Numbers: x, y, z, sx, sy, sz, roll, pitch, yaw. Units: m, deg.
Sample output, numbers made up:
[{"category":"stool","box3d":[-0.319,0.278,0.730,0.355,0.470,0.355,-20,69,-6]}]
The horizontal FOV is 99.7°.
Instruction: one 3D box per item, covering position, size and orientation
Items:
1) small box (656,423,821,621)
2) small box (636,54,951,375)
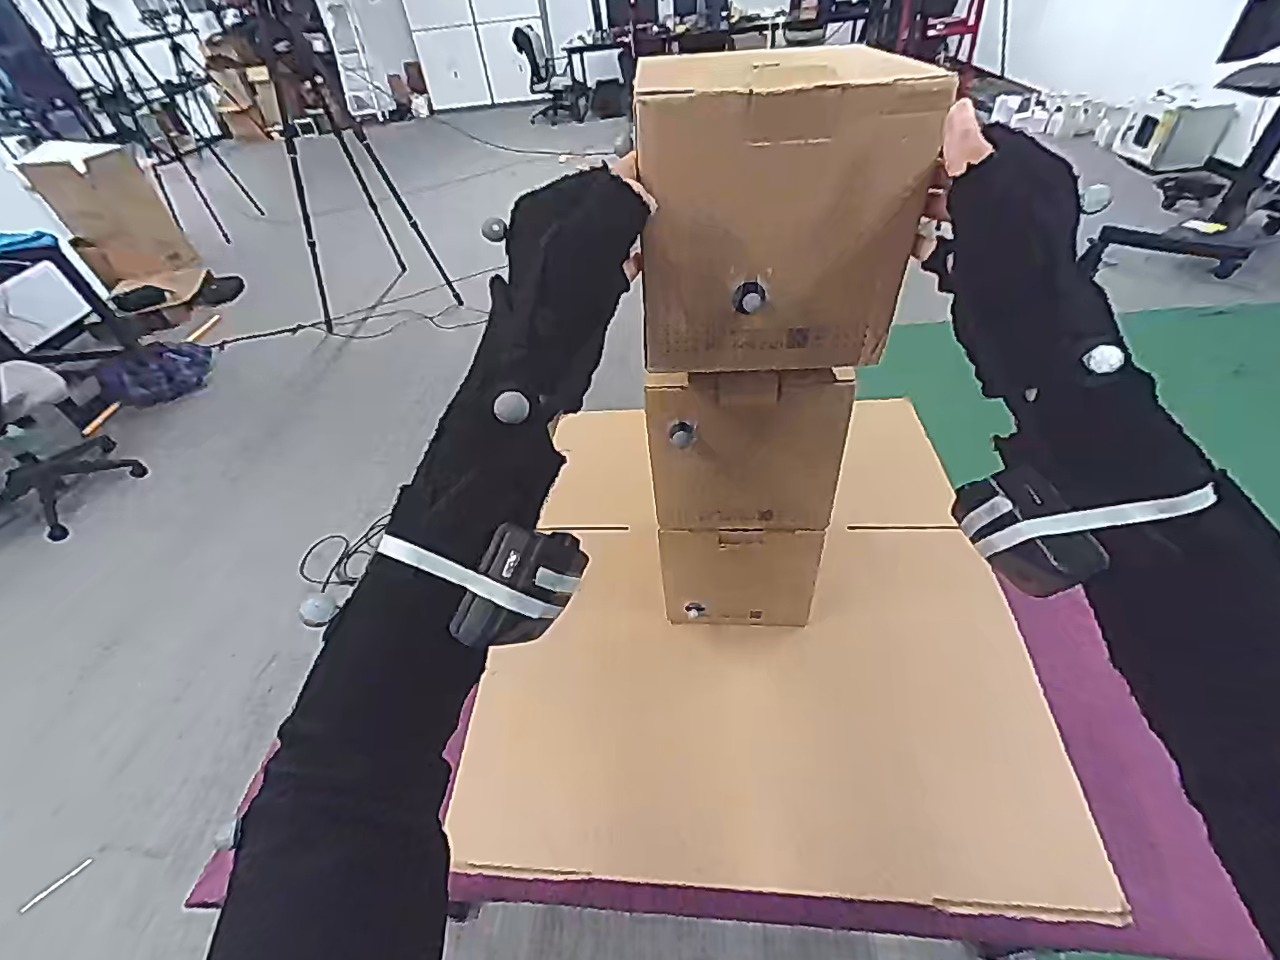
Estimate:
[{"category":"small box","box3d":[0.113,0.051,0.646,0.168,0.176,0.179,0,43,8]},{"category":"small box","box3d":[0.083,-0.193,0.395,0.168,0.176,0.179,-2,44,2]}]
